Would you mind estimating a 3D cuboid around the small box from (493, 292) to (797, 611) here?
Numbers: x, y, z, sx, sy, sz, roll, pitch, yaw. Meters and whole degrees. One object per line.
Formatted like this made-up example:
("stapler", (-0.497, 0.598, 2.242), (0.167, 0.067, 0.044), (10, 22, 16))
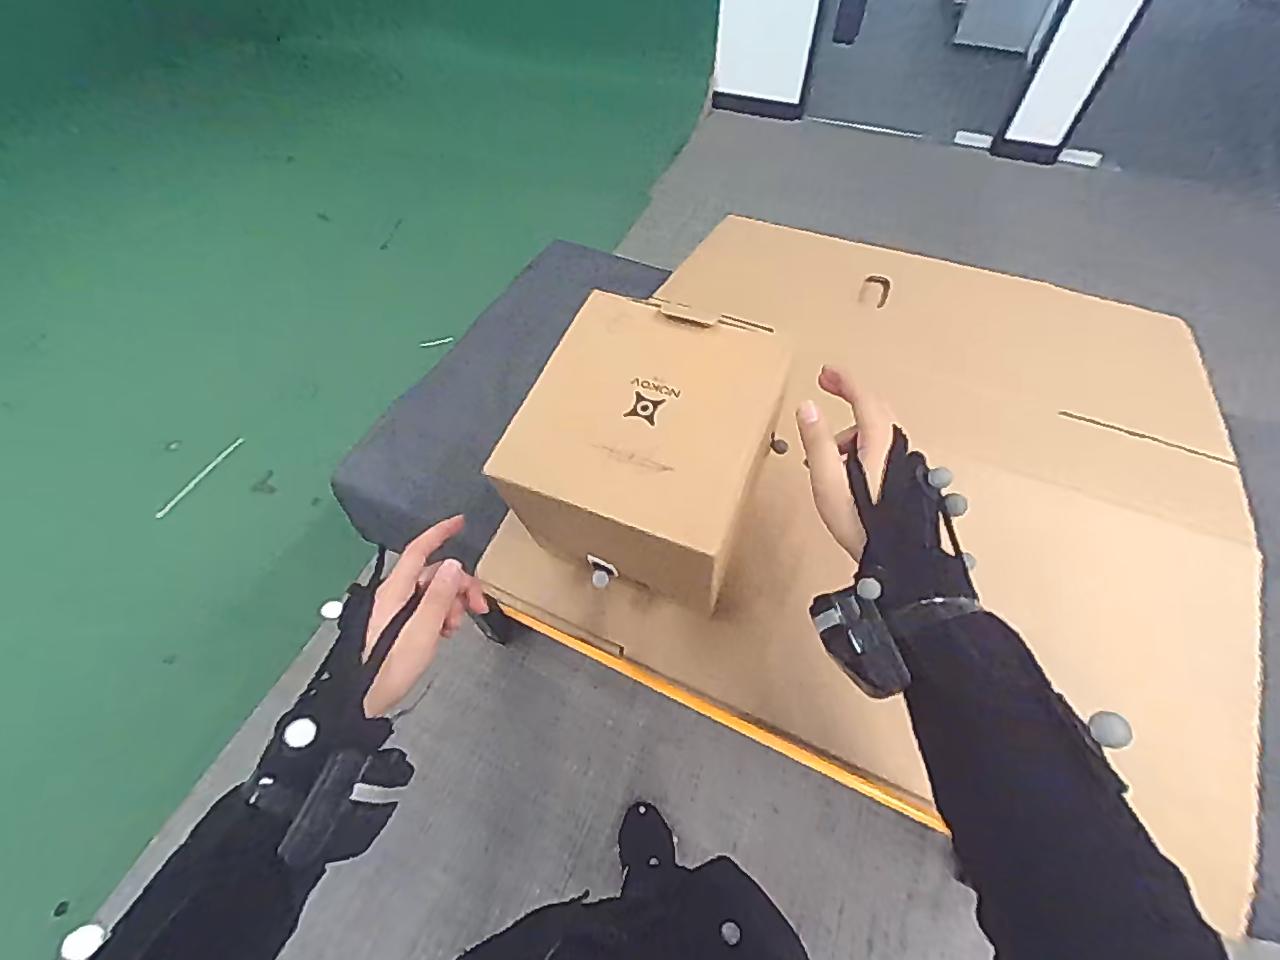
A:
("small box", (0.013, -0.016, 0.447), (0.168, 0.176, 0.179), (19, 67, 15))
